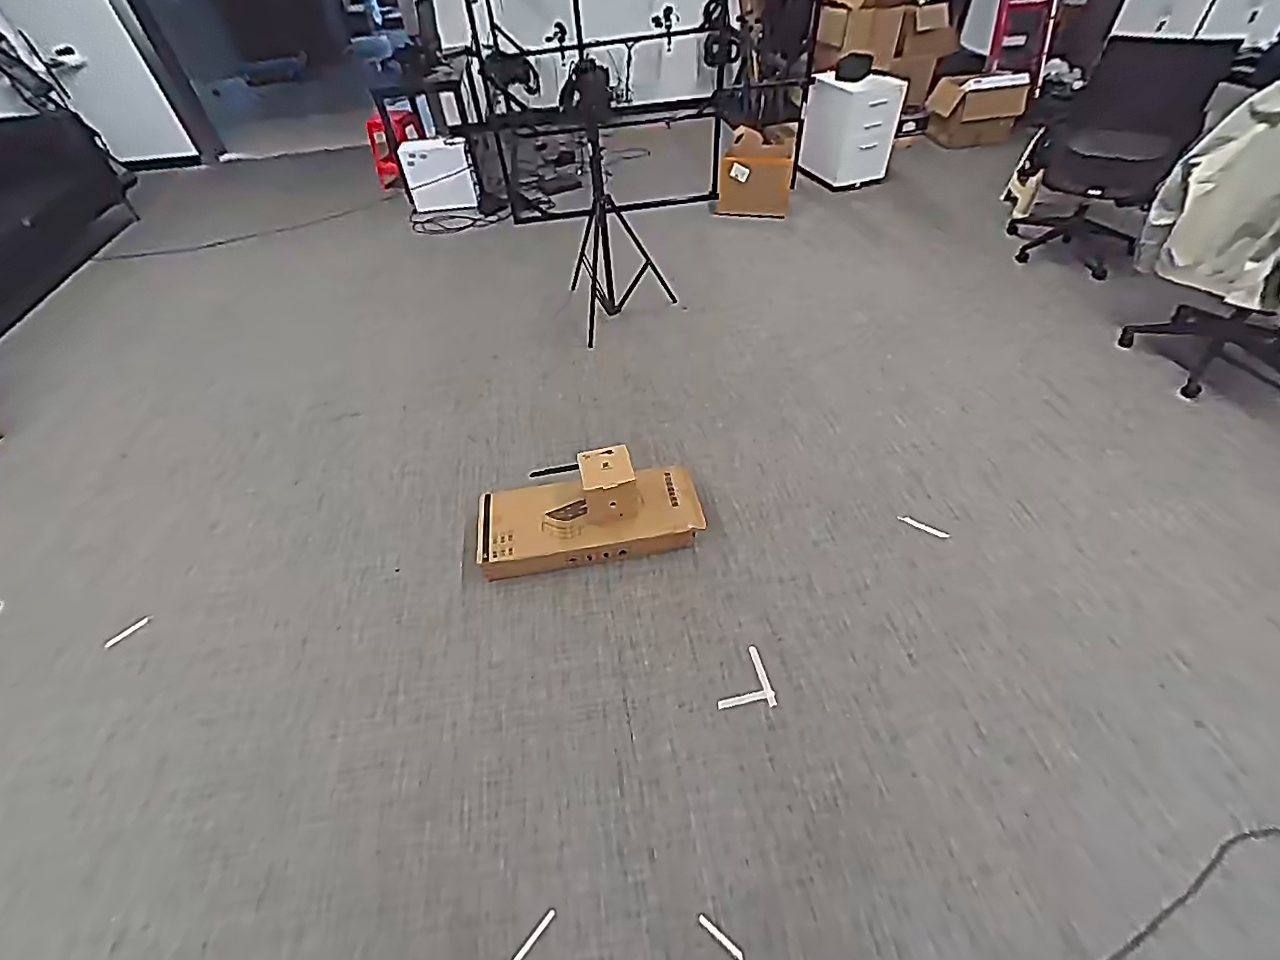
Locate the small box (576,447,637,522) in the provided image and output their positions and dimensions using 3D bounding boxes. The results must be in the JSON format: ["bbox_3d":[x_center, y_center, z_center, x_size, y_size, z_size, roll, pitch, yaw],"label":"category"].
[{"bbox_3d":[-0.108,0.022,1.782,0.168,0.176,0.179,-11,47,-6],"label":"small box"}]
